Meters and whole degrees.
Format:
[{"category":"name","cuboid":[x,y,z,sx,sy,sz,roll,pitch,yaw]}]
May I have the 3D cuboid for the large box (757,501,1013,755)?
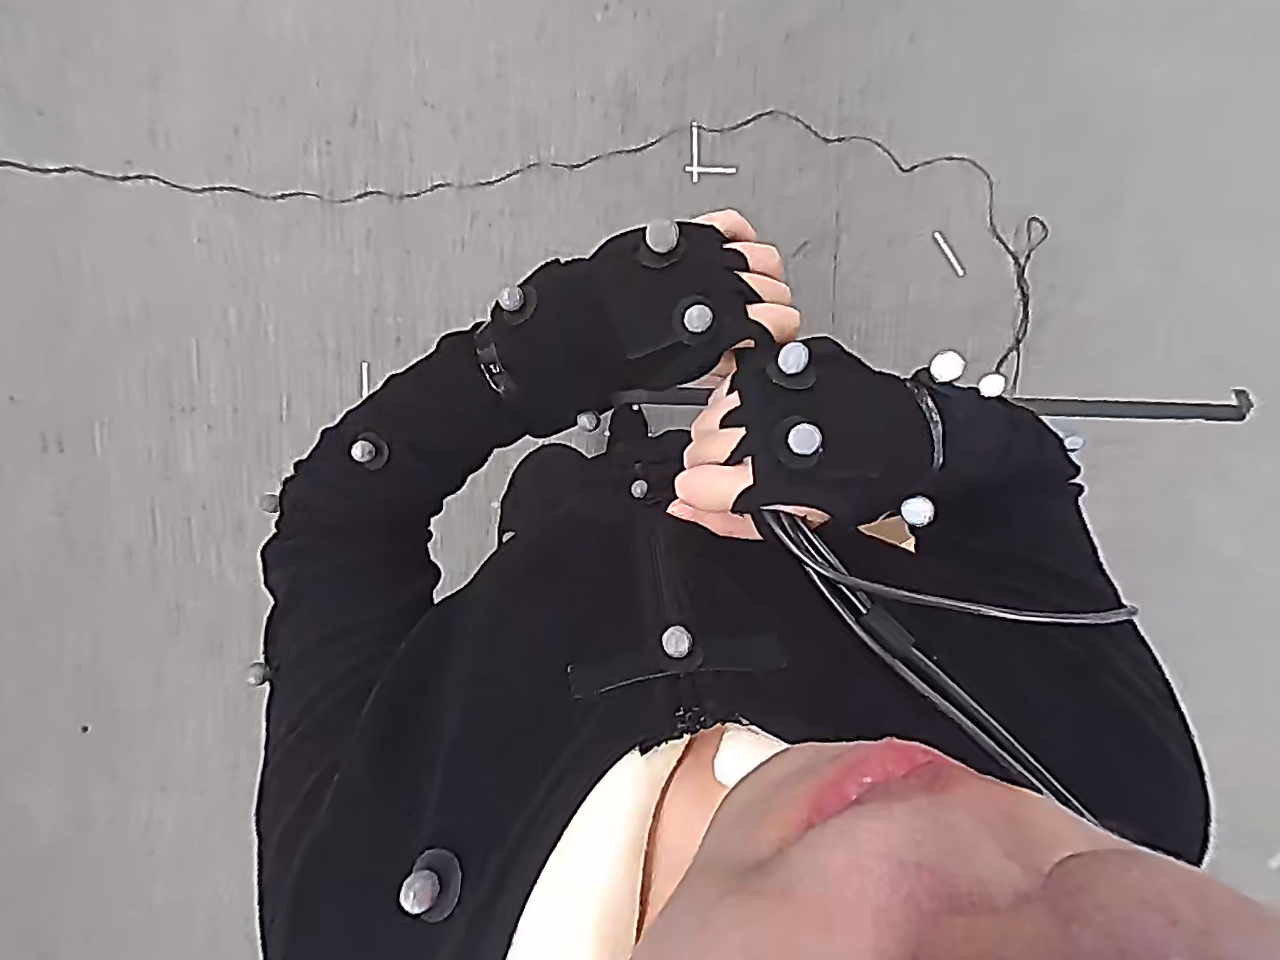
[{"category":"large box","cuboid":[0.524,0.305,1.227,0.320,0.320,0.408,-29,97,0]}]
